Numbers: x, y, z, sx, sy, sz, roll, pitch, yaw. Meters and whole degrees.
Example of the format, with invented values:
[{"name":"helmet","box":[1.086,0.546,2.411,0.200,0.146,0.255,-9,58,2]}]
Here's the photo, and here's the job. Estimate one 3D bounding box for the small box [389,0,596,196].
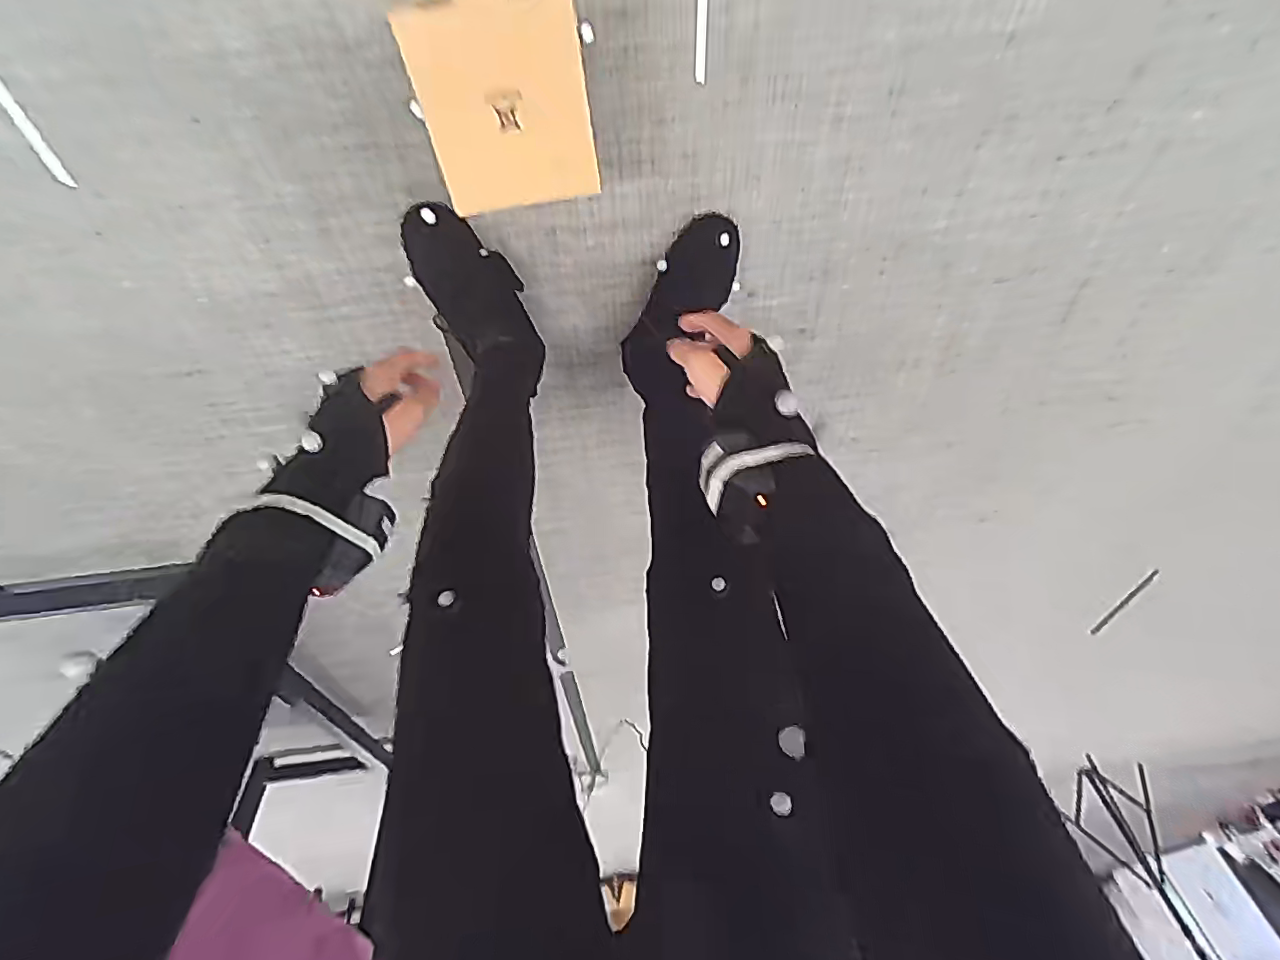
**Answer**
[{"name":"small box","box":[-0.141,-0.440,0.588,0.168,0.176,0.179,-8,136,1]}]
